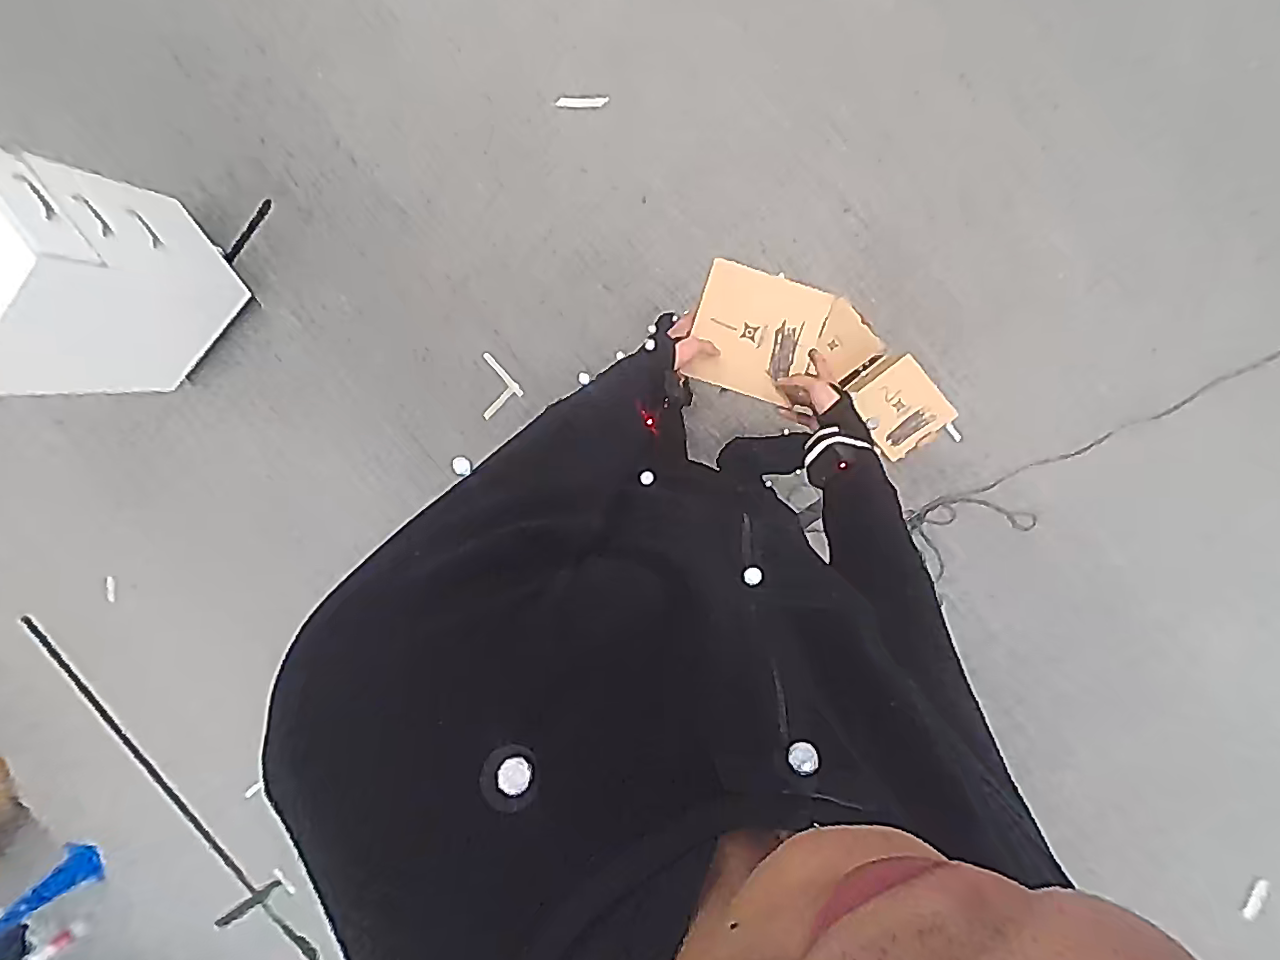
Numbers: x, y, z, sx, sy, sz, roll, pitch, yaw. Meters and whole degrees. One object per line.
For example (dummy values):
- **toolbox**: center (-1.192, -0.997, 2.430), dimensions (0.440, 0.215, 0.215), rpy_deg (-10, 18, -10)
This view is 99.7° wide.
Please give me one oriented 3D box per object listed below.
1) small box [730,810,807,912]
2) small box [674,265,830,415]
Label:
- **small box**: center (0.407, 1.208, 1.723), dimensions (0.168, 0.176, 0.179), rpy_deg (-42, 91, 16)
- **small box**: center (0.159, -0.210, 0.827), dimensions (0.179, 0.176, 0.168), rpy_deg (17, 103, 1)
